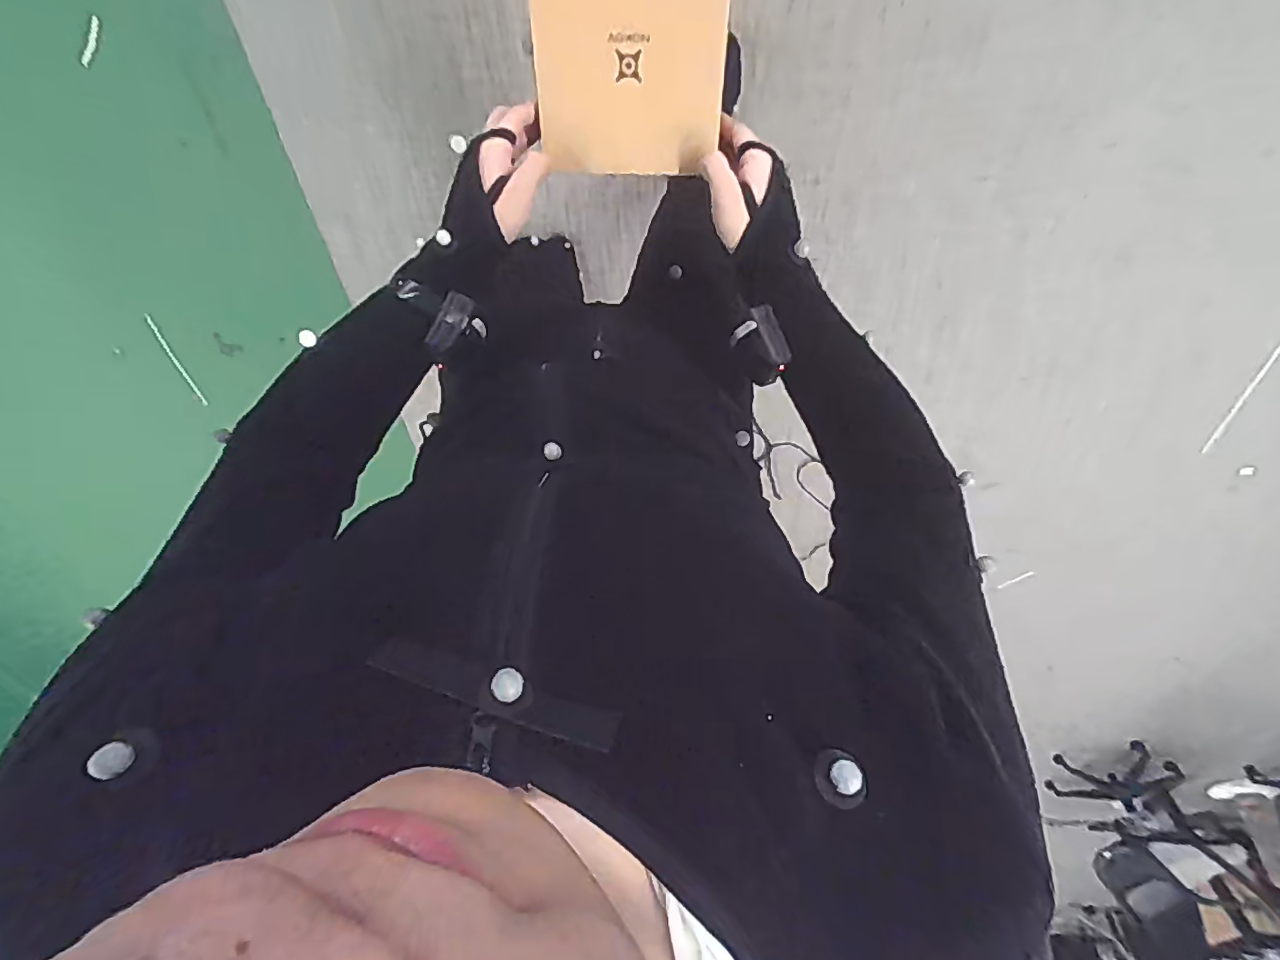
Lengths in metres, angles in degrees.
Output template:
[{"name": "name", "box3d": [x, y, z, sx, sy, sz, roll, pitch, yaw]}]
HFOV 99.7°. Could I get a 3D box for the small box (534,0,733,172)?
[{"name": "small box", "box3d": [-0.001, -0.412, 0.521, 0.168, 0.176, 0.179, 3, 128, 3]}]
